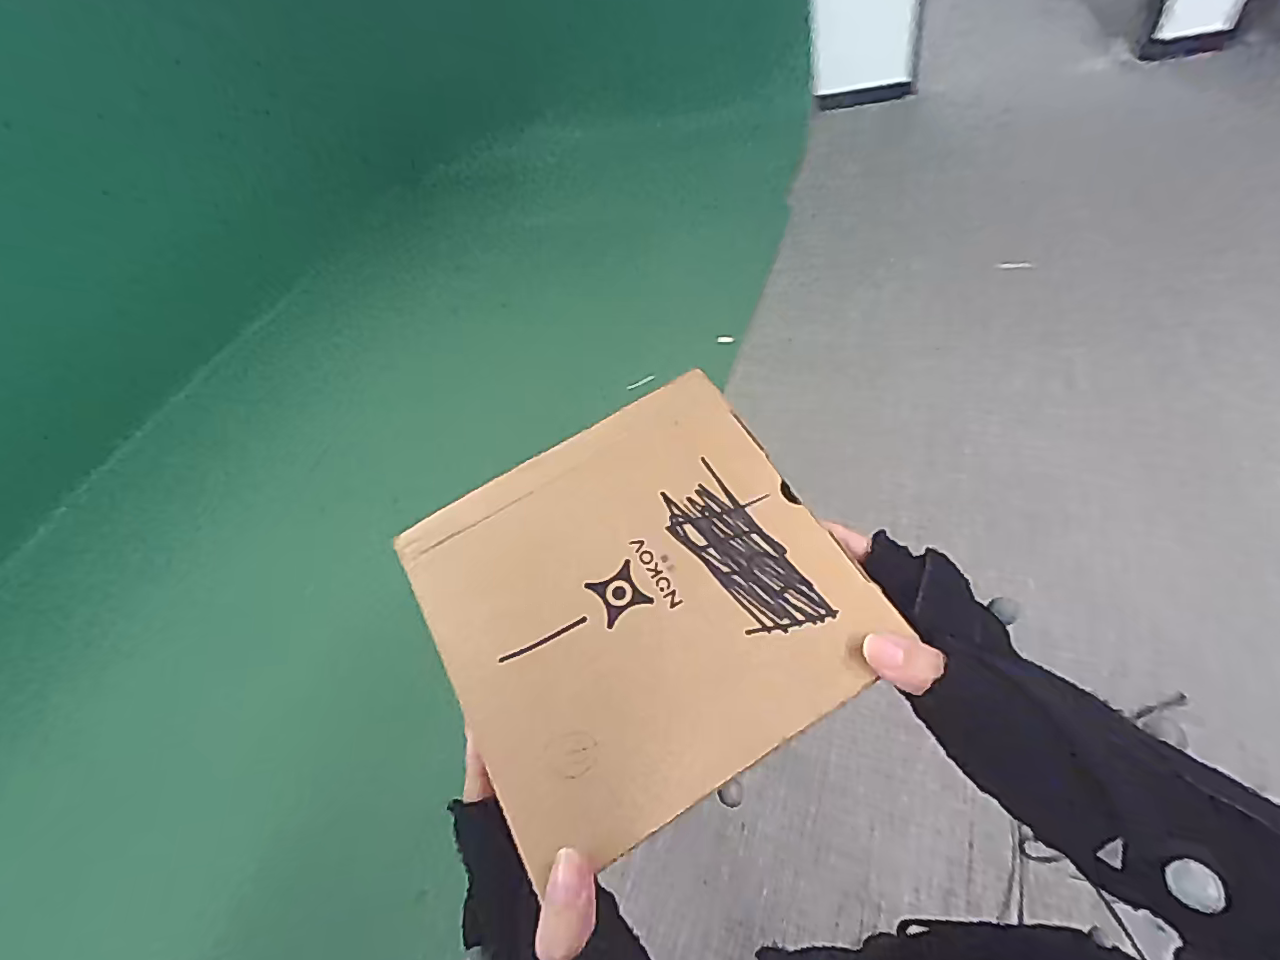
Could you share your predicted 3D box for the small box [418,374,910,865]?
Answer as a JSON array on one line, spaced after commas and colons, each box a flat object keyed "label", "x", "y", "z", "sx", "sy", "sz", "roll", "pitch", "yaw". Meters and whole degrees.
[{"label": "small box", "x": 0.008, "y": 0.077, "z": 0.319, "sx": 0.179, "sy": 0.176, "sz": 0.168, "roll": -28, "pitch": 65, "yaw": -8}]
